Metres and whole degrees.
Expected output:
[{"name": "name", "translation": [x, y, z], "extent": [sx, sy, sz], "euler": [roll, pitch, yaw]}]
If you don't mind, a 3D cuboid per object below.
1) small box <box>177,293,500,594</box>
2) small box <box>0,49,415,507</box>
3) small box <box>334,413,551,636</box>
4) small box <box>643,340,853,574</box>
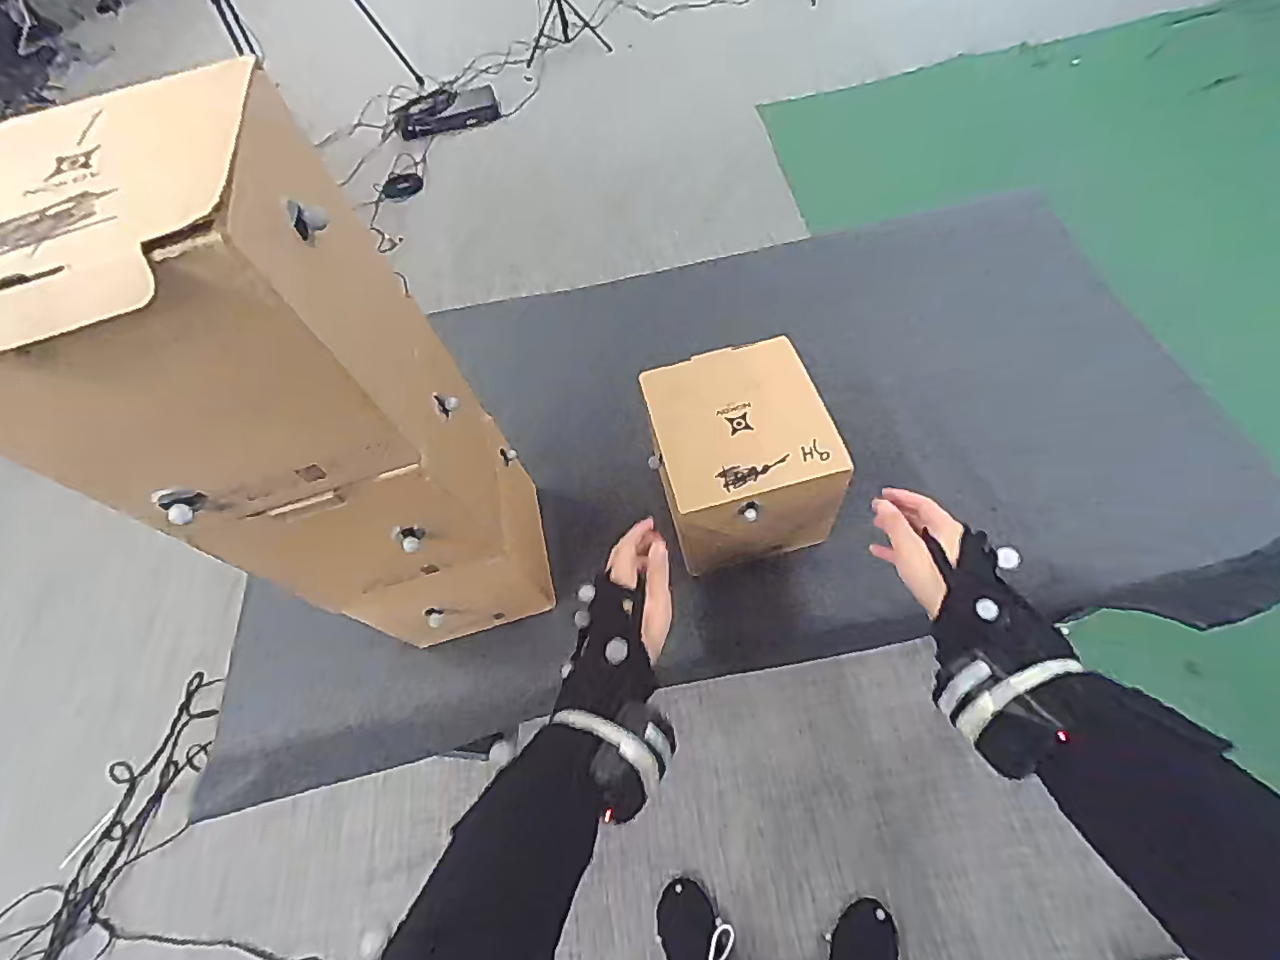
[{"name": "small box", "translation": [-0.229, -0.018, 0.458], "extent": [0.168, 0.176, 0.179], "euler": [-16, 58, -2]}, {"name": "small box", "translation": [-0.249, -0.102, 0.318], "extent": [0.168, 0.176, 0.179], "euler": [-17, 58, -3]}, {"name": "small box", "translation": [-0.207, 0.061, 0.599], "extent": [0.168, 0.176, 0.179], "euler": [-16, 59, -1]}, {"name": "small box", "translation": [0.106, -0.019, 0.598], "extent": [0.168, 0.176, 0.179], "euler": [-14, 58, 0]}]
